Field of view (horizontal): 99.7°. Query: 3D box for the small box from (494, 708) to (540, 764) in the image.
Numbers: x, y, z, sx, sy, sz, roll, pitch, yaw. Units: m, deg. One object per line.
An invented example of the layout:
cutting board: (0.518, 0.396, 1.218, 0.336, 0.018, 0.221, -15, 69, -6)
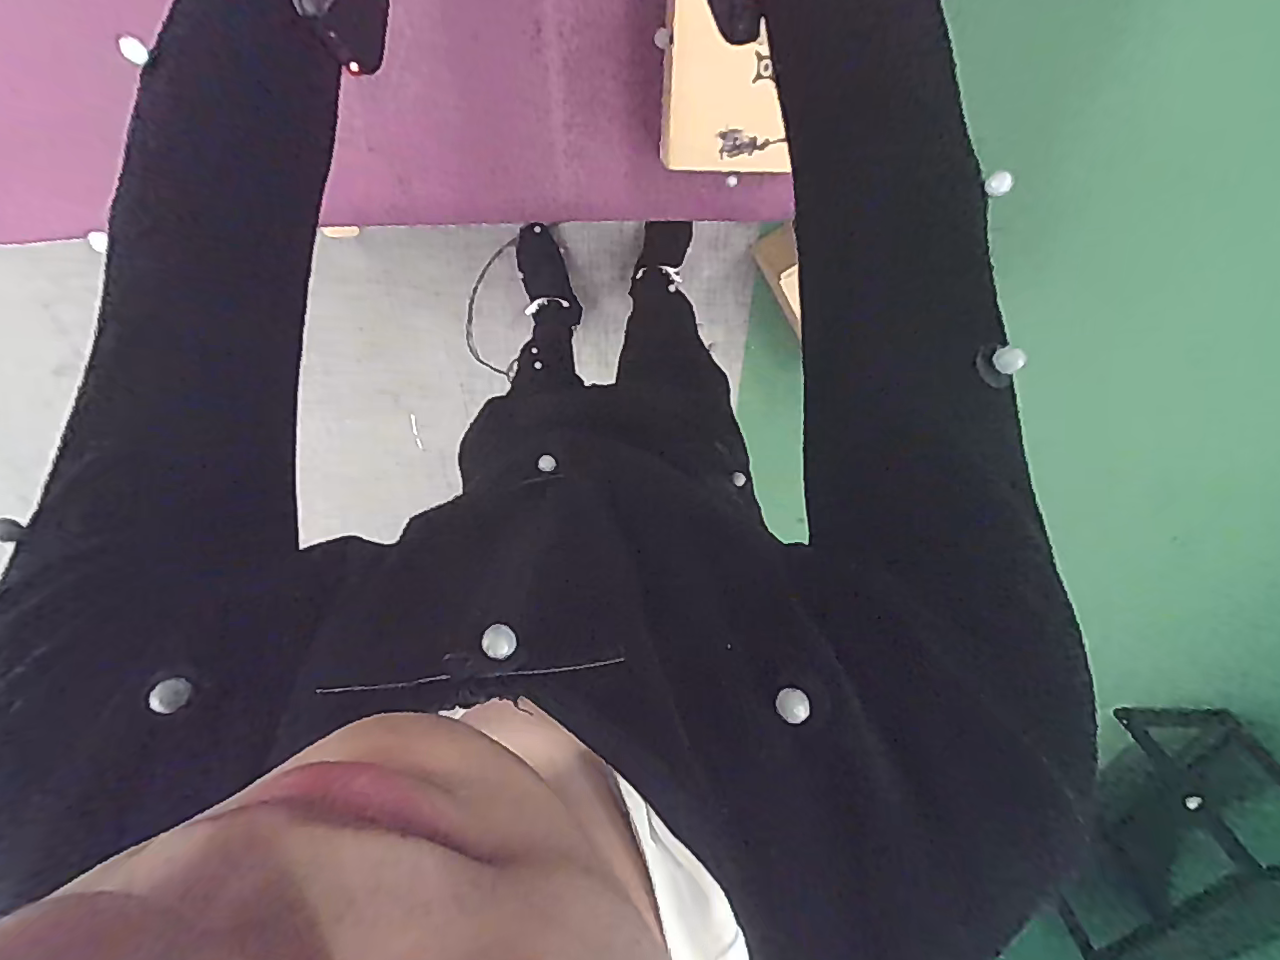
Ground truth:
small box: (-0.544, 1.150, 2.408, 0.168, 0.176, 0.179, 6, 123, -1)

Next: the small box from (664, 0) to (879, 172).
small box: (0.112, -0.405, 0.526, 0.168, 0.176, 0.179, 1, 122, -1)
